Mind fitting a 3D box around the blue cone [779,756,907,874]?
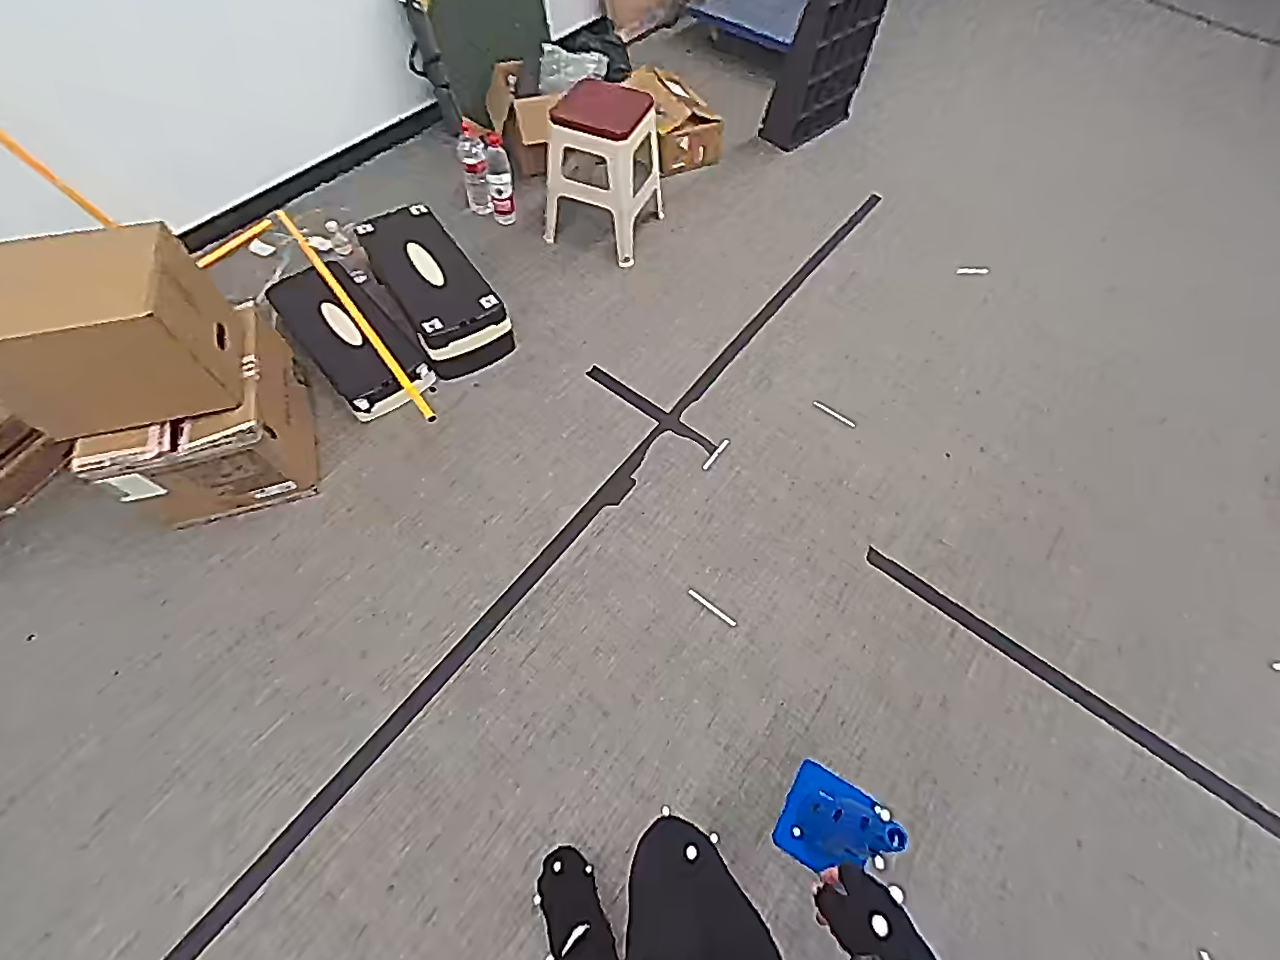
[{"bbox_3d":[0.427,0.670,1.074,0.193,0.380,0.192,30,64,15],"label":"blue cone"}]
